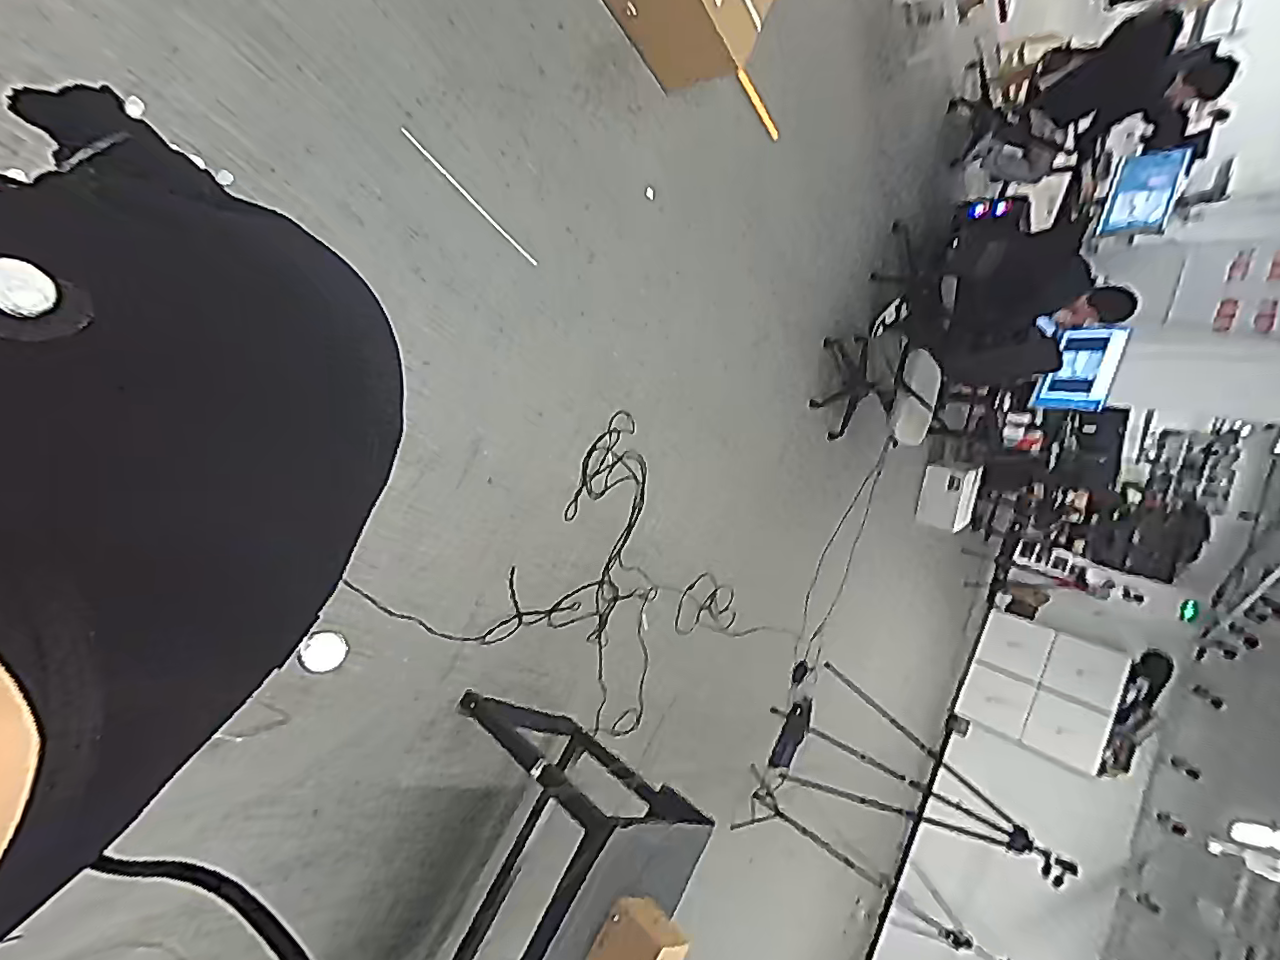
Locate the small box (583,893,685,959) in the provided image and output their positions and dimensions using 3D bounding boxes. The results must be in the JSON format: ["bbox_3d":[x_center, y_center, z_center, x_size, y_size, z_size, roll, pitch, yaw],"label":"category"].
[{"bbox_3d":[-0.018,1.237,1.433,0.168,0.176,0.179,-57,137,-15],"label":"small box"}]
